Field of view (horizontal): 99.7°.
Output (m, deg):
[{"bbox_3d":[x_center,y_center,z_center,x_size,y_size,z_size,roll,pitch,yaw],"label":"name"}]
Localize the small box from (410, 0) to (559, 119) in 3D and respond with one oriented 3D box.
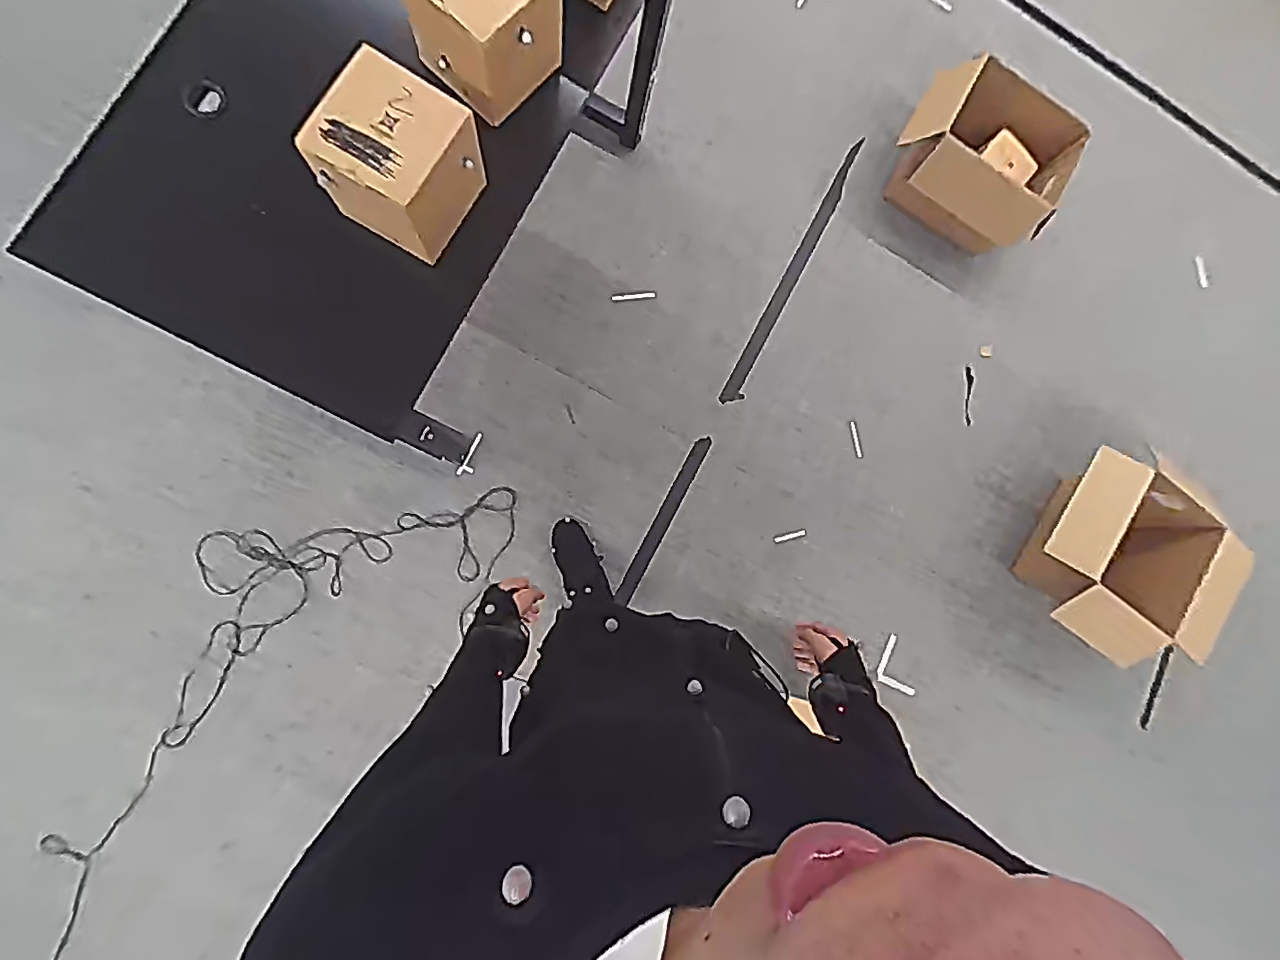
[{"bbox_3d":[-0.240,-0.724,0.839,0.168,0.176,0.179,41,83,-4],"label":"small box"}]
